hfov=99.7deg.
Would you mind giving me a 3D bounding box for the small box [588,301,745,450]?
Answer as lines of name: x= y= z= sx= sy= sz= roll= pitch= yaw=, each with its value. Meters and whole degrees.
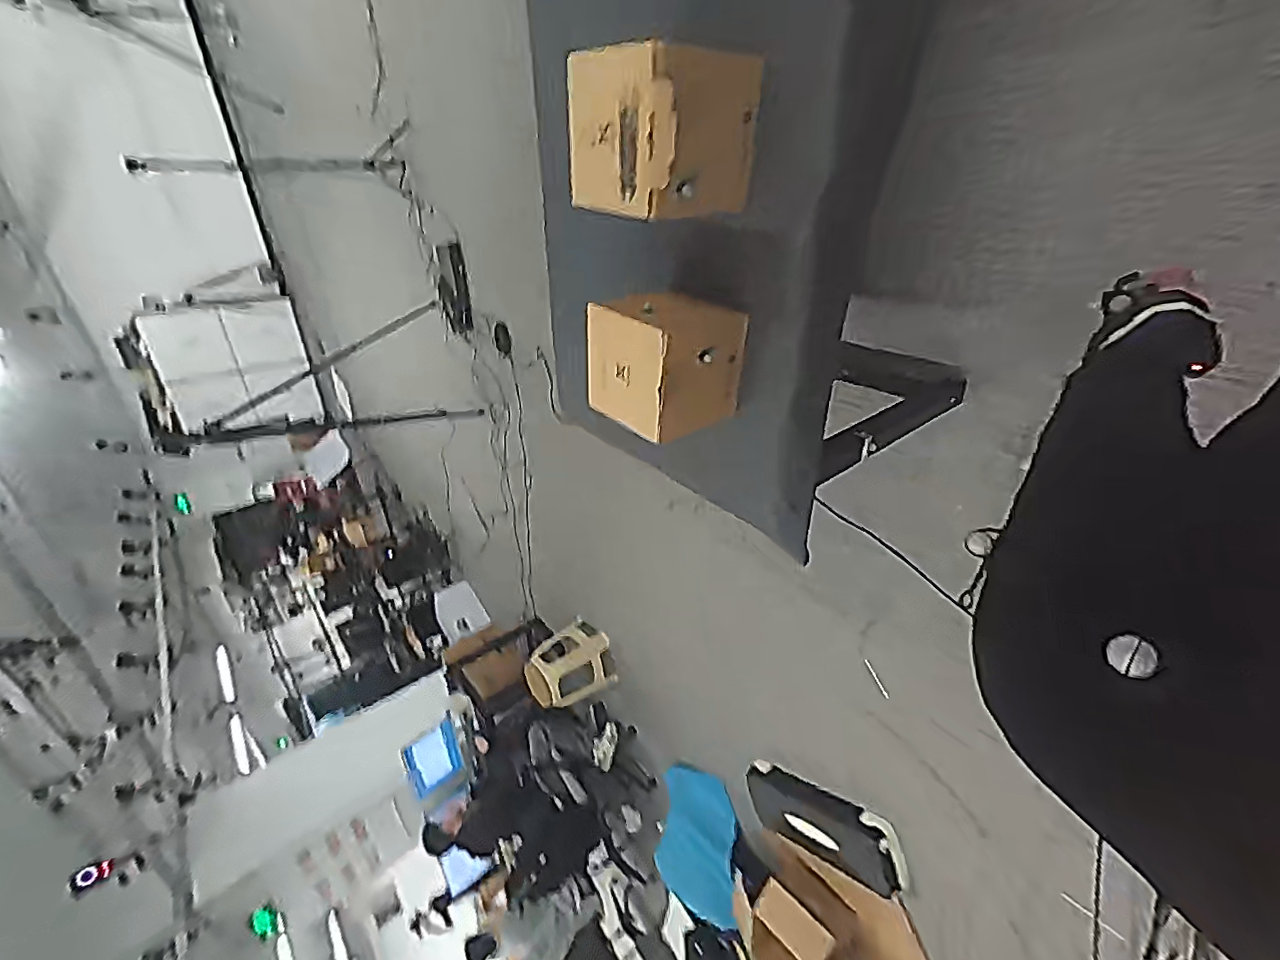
small box: x=0.038 y=-0.170 z=0.830 sx=0.179 sy=0.176 sz=0.168 roll=34 pitch=133 yaw=42
